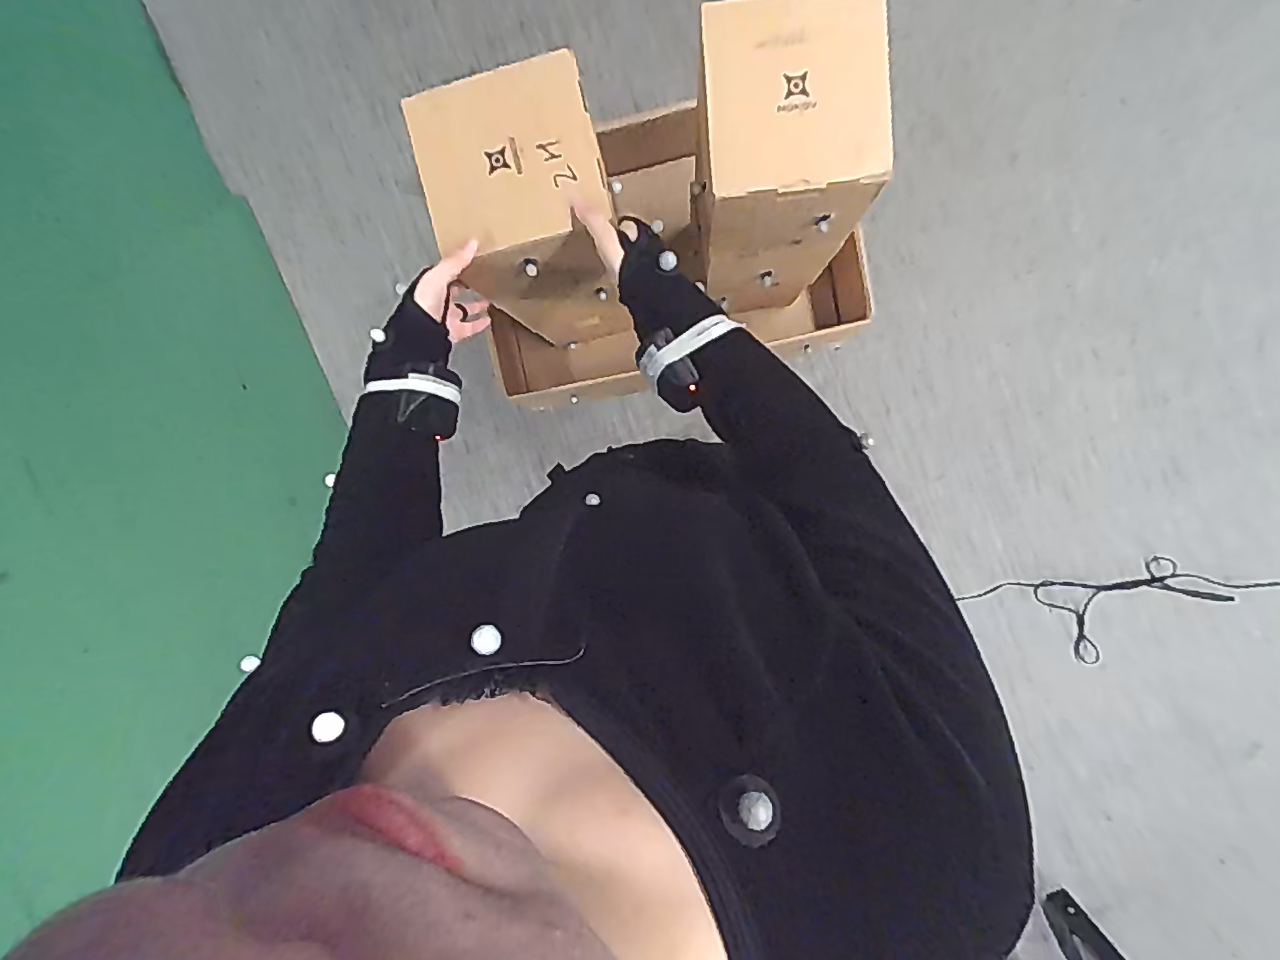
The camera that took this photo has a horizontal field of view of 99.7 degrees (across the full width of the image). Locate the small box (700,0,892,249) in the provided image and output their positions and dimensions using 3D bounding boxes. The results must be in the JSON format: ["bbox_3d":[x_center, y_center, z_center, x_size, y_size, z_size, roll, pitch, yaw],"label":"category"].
[{"bbox_3d":[0.150,-0.358,0.568,0.168,0.176,0.179,-3,93,5],"label":"small box"}]

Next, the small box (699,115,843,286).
[{"bbox_3d":[0.167,-0.372,0.731,0.168,0.176,0.179,-4,95,5],"label":"small box"}]

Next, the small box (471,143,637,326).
[{"bbox_3d":[-0.110,-0.330,0.765,0.179,0.176,0.168,-12,93,5],"label":"small box"}]
